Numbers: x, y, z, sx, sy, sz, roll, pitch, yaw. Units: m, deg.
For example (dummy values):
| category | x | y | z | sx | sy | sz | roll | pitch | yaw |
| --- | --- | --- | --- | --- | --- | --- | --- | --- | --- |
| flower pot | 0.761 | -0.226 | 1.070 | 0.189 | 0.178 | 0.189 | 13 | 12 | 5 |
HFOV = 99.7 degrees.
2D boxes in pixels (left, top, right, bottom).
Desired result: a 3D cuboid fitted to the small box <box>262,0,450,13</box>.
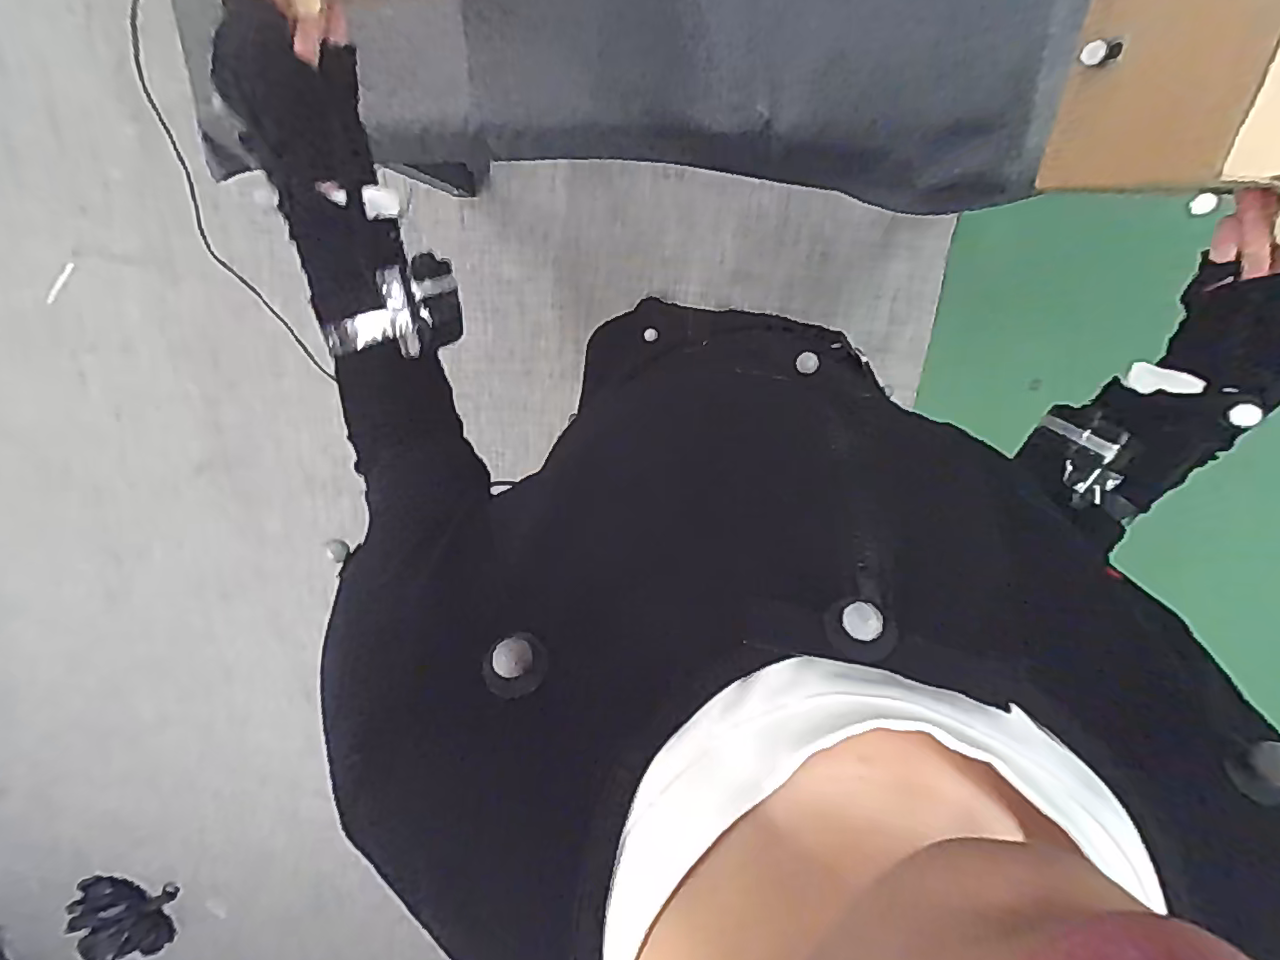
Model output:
| category | x | y | z | sx | sy | sz | roll | pitch | yaw |
| --- | --- | --- | --- | --- | --- | --- | --- | --- | --- |
| small box | -0.215 | -0.413 | 0.328 | 0.168 | 0.176 | 0.179 | -1 | 121 | 7 |
